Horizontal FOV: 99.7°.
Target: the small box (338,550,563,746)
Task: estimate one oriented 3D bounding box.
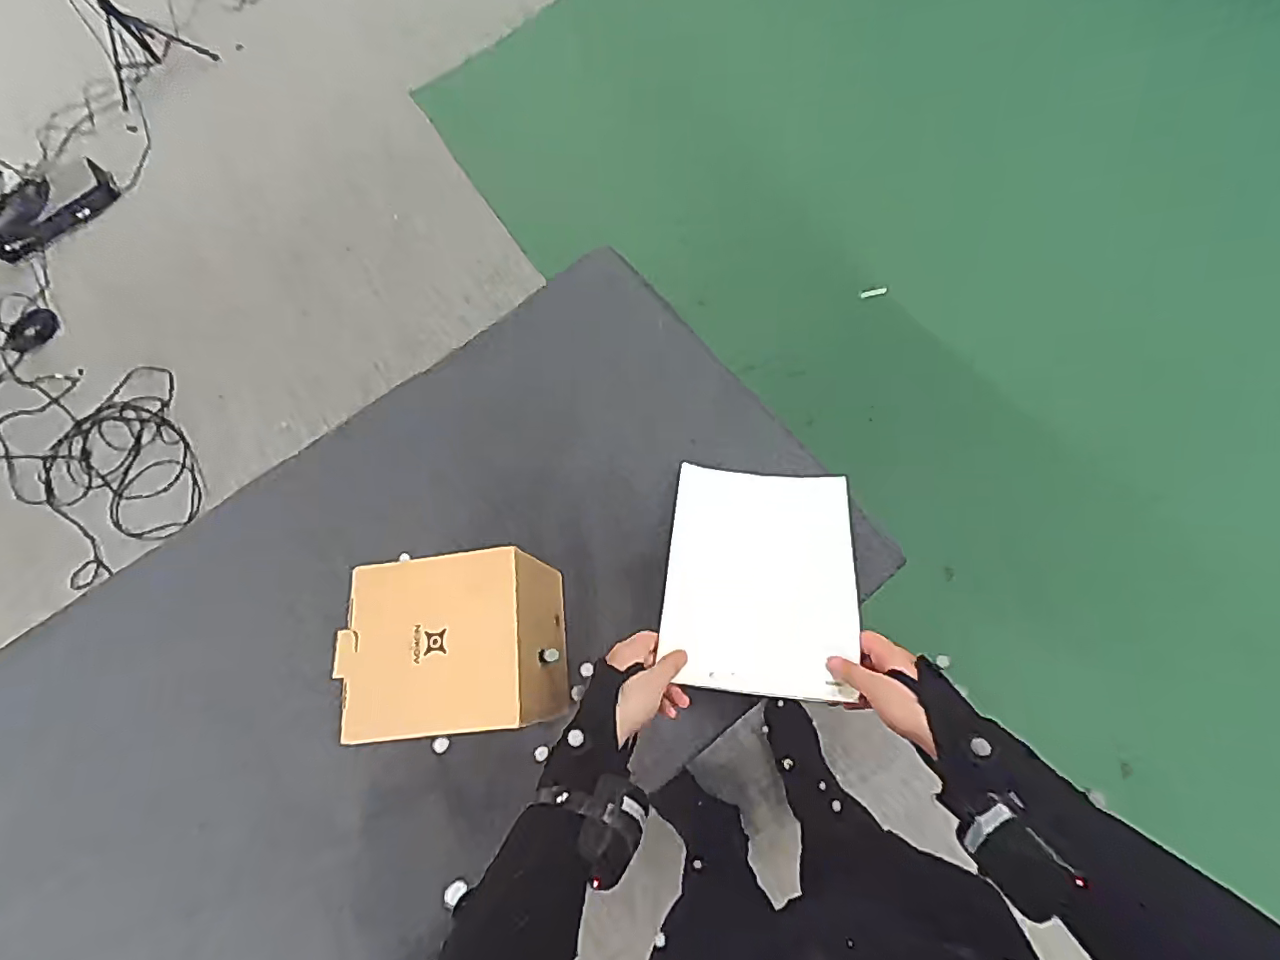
[{"bbox_3d":[-0.187,0.178,0.584,0.179,0.176,0.168,-9,71,7],"label":"small box"}]
